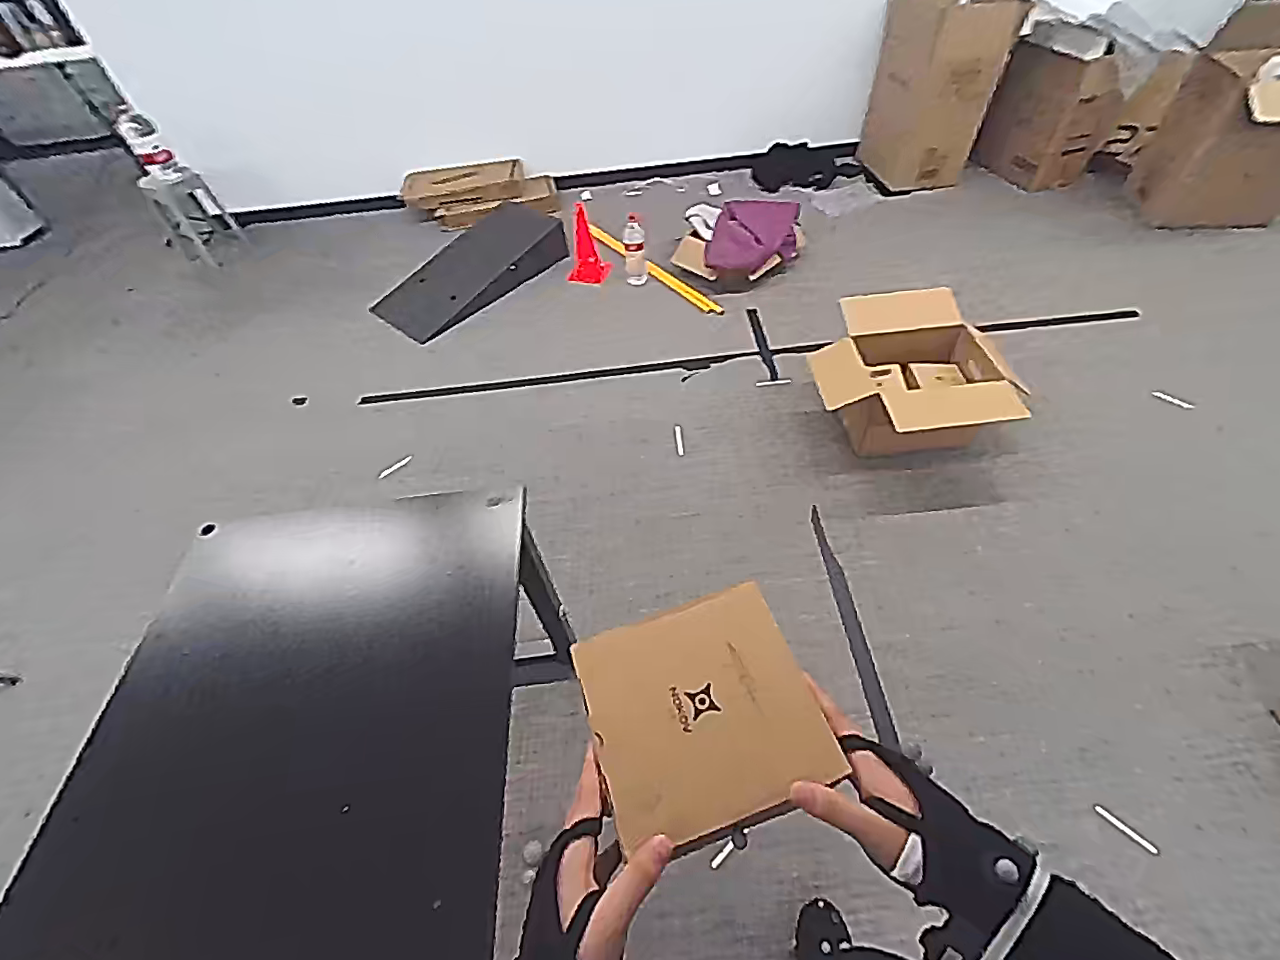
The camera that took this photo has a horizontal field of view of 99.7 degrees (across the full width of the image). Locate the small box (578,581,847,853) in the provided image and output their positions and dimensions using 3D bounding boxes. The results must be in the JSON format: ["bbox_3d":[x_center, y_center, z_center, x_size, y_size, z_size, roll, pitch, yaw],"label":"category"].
[{"bbox_3d":[0.059,0.225,0.502,0.179,0.176,0.168,-18,55,-6],"label":"small box"}]
